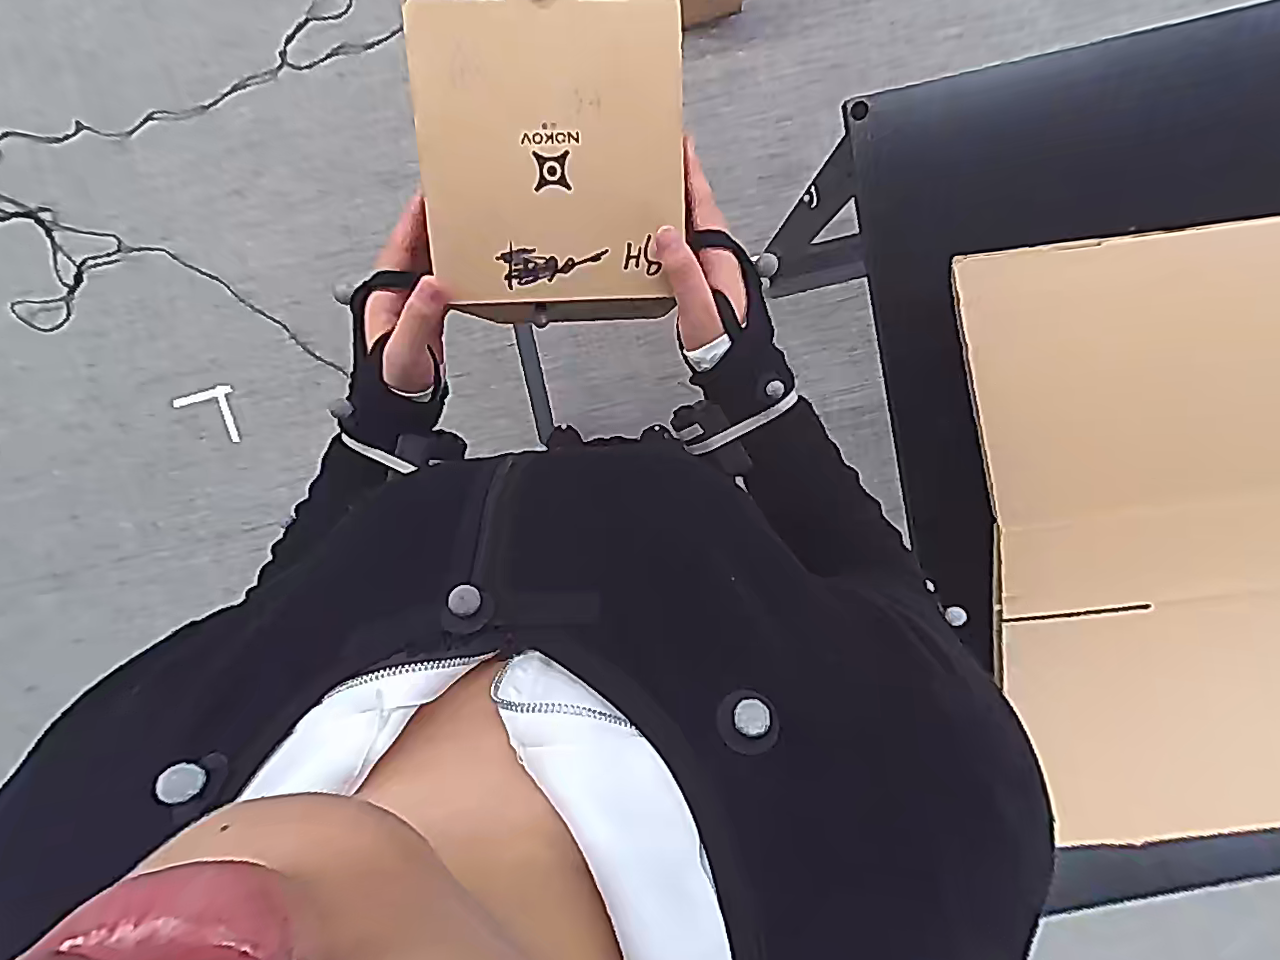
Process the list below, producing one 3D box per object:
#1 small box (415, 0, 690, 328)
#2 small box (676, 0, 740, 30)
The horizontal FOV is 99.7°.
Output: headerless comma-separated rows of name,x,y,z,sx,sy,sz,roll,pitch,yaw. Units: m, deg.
small box,-0.055,-0.217,0.417,0.168,0.176,0.179,-3,101,-2
small box,0.145,-1.213,1.268,0.179,0.176,0.168,-16,96,3
